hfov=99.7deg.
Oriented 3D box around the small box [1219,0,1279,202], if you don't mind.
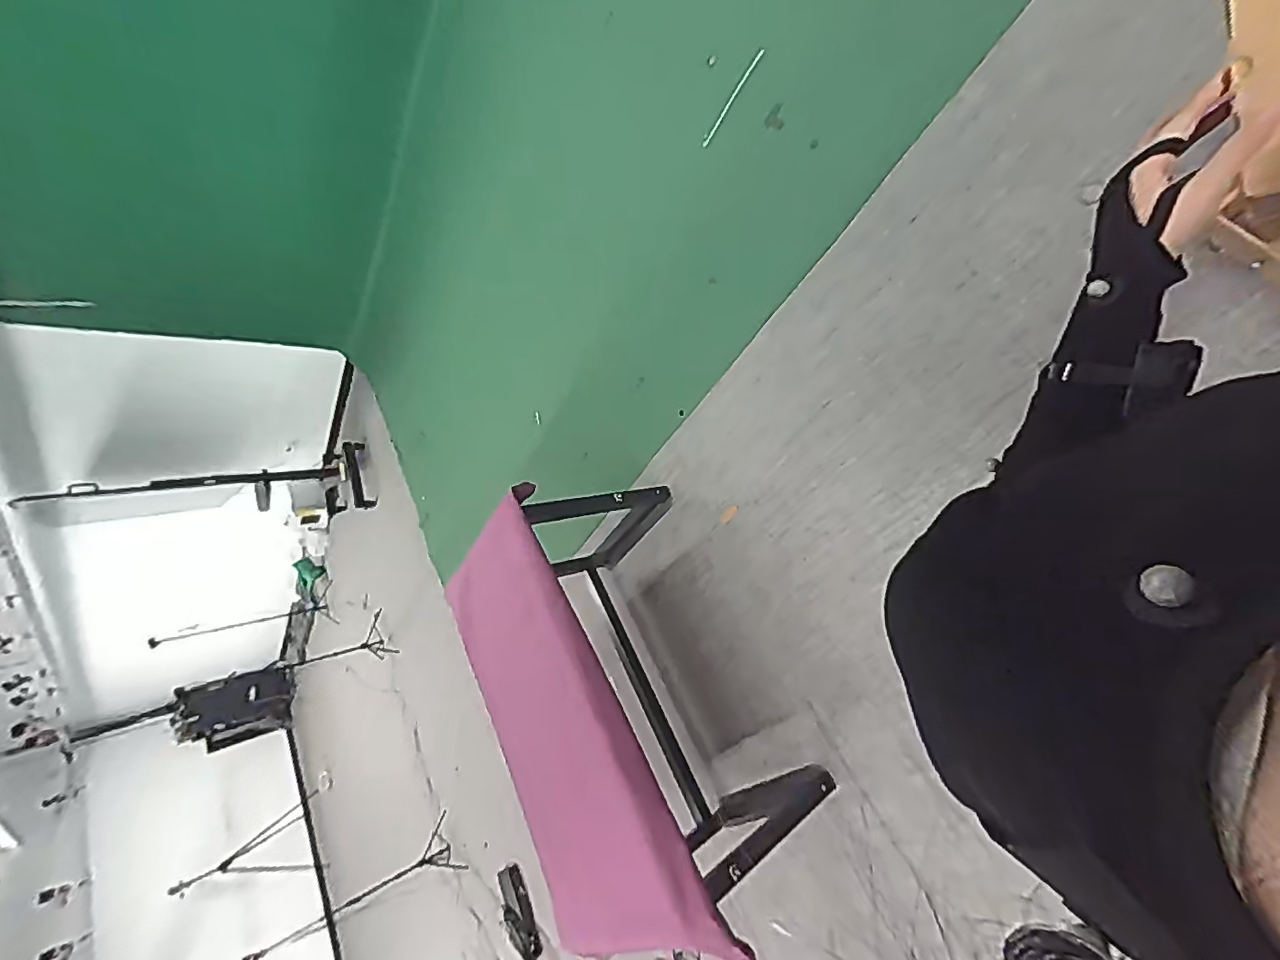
[{"bbox_3d":[0.506,-0.301,0.342,0.179,0.176,0.168,-7,97,52],"label":"small box"}]
